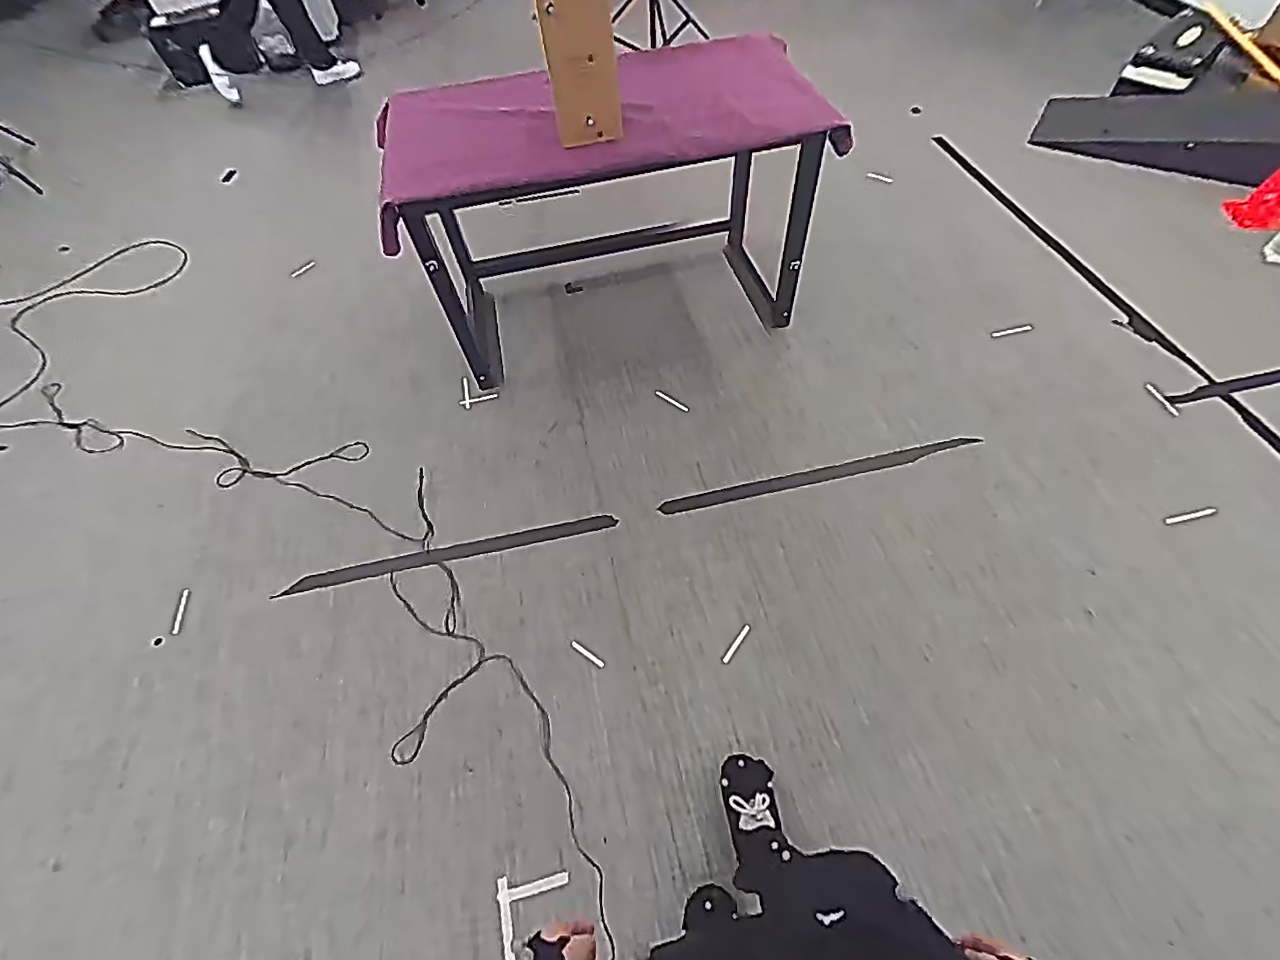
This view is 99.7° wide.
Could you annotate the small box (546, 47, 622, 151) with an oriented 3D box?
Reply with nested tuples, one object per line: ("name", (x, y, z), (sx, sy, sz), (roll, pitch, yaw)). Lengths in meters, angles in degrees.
("small box", (-0.146, -1.002, 1.425), (0.168, 0.176, 0.179), (-11, 56, -2))
